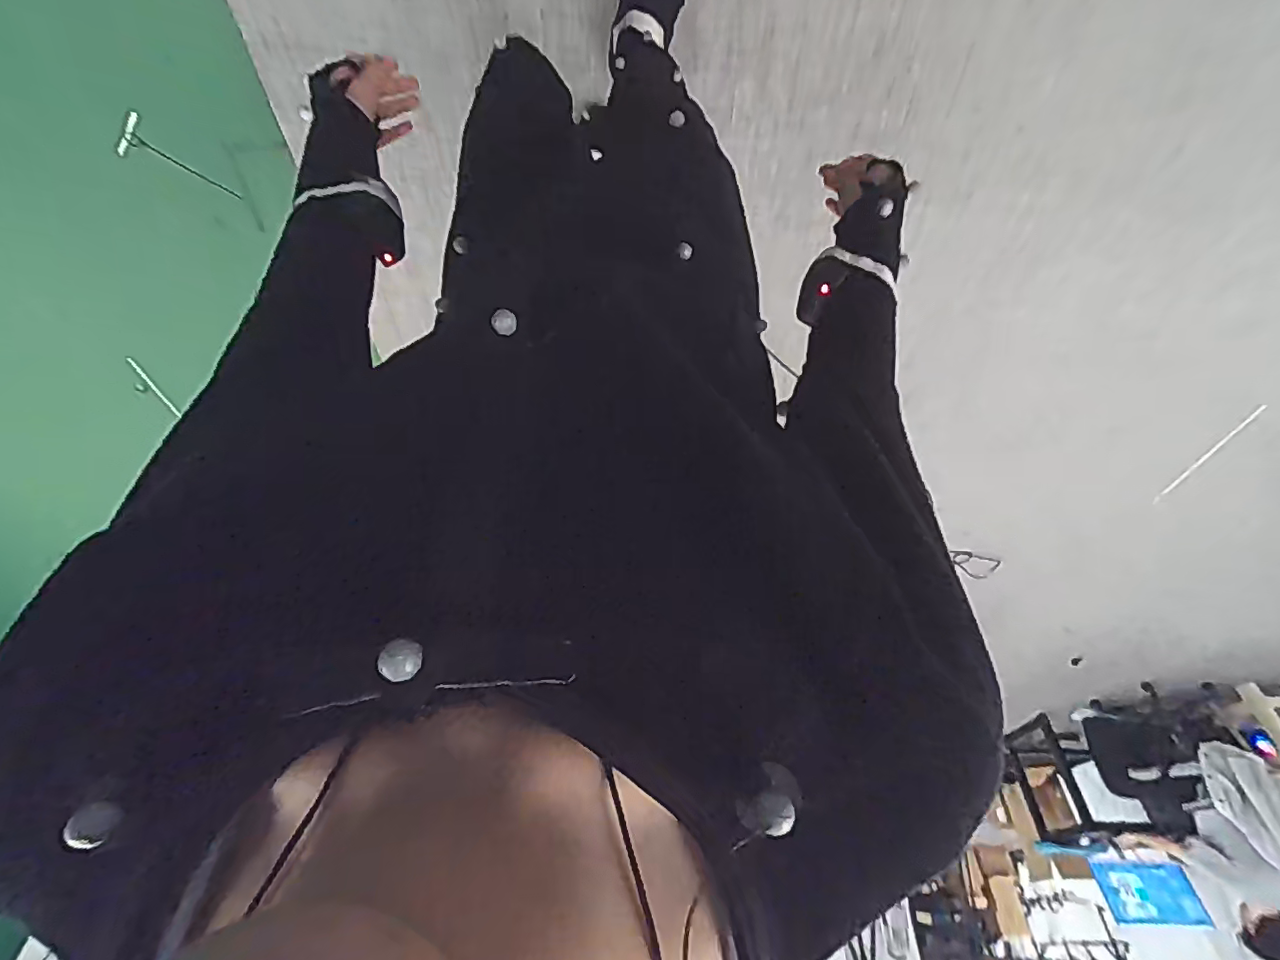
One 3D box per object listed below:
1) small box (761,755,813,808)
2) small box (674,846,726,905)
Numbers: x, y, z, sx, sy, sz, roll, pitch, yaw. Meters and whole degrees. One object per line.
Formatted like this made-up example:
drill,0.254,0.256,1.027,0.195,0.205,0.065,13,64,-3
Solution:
small box,0.609,1.268,2.272,0.168,0.176,0.179,2,141,0
small box,0.222,1.500,2.050,0.179,0.176,0.168,2,141,-1
